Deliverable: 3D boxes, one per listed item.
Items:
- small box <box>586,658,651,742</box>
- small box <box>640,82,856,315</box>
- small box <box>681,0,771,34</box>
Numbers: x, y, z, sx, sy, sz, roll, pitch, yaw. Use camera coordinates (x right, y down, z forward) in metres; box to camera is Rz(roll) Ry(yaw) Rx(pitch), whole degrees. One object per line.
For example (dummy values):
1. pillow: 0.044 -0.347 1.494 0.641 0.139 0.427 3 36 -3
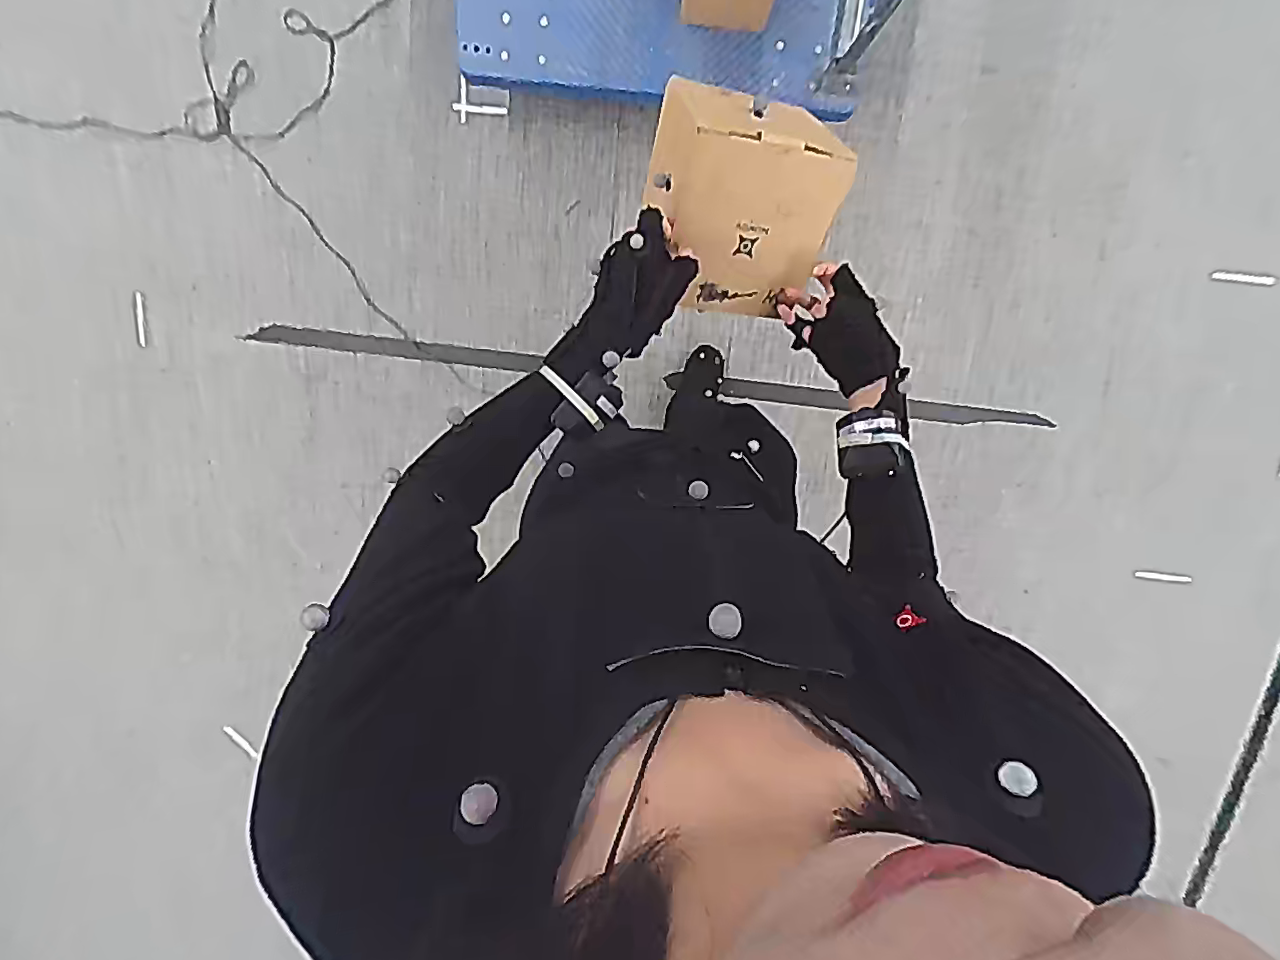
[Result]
1. small box: -0.059 0.639 1.587 0.179 0.176 0.168 3 103 0
2. small box: 0.100 -0.314 0.606 0.168 0.176 0.179 3 136 -13
3. small box: 0.177 -1.000 1.033 0.179 0.176 0.168 8 102 -1
